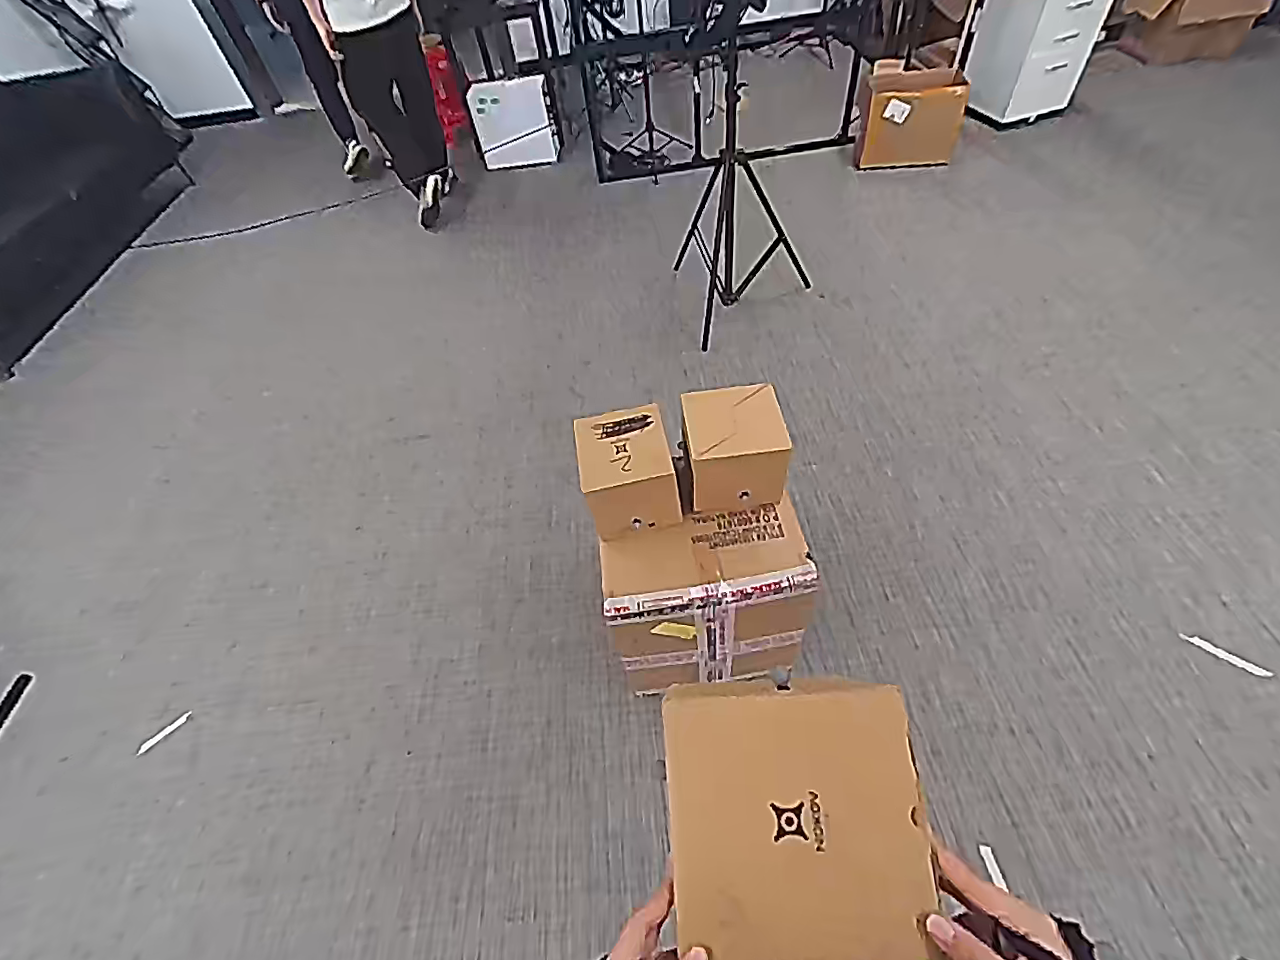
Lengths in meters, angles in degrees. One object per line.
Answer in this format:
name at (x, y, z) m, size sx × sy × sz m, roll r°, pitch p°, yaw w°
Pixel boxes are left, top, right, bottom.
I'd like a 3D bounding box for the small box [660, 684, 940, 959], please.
small box at (0.112, 0.265, 0.456) m, size 0.179 × 0.176 × 0.168 m, roll -4°, pitch 71°, yaw 3°
